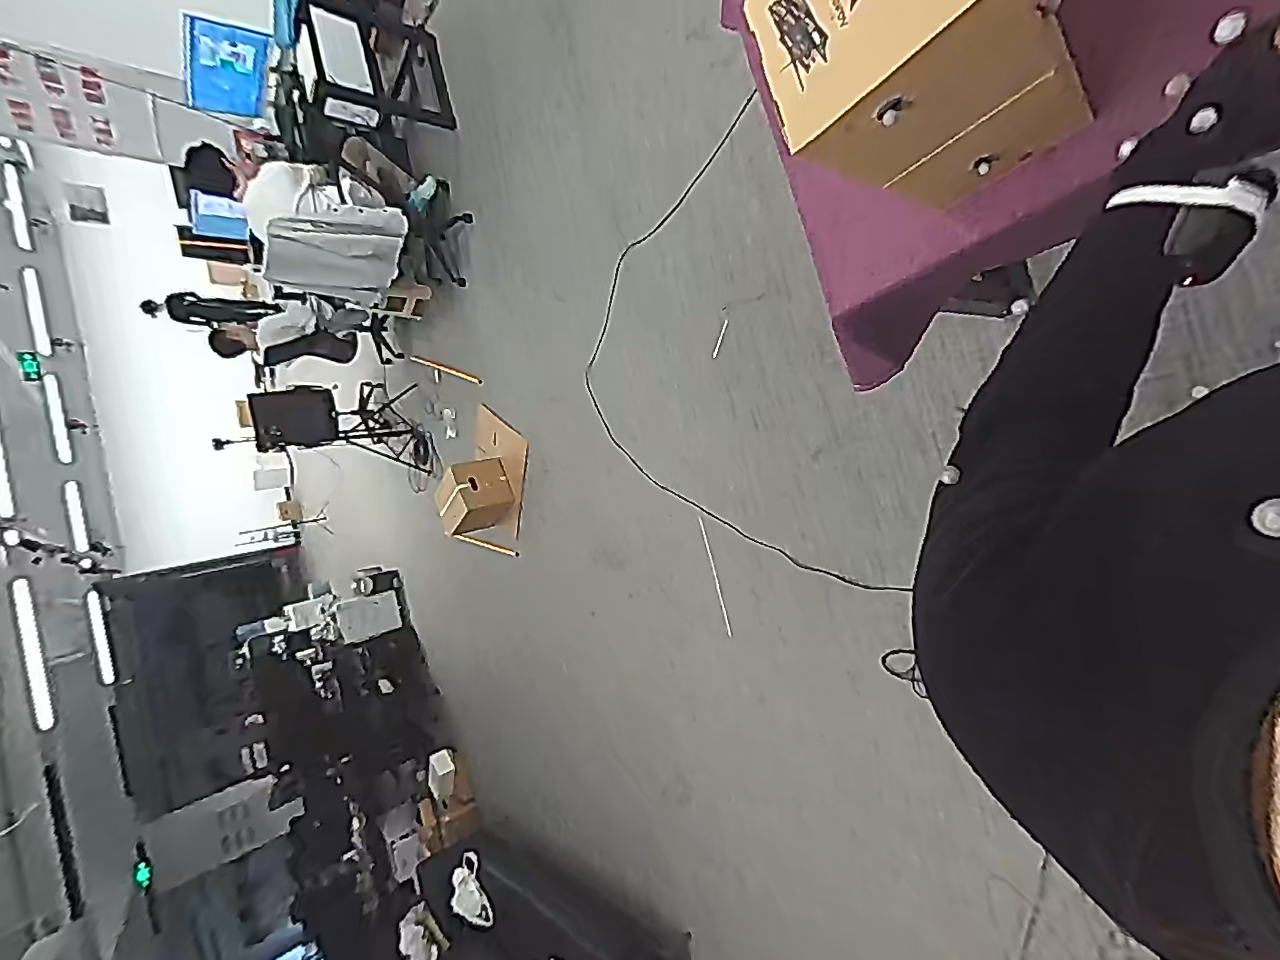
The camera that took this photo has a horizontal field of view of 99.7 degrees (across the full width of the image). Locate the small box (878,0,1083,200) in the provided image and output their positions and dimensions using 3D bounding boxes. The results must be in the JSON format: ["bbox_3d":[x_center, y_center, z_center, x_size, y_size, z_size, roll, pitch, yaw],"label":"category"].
[{"bbox_3d":[0.359,-0.442,0.606,0.168,0.176,0.179,-21,82,49],"label":"small box"}]

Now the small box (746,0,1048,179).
[{"bbox_3d":[0.234,-0.416,0.502,0.179,0.176,0.168,-21,83,49],"label":"small box"}]
